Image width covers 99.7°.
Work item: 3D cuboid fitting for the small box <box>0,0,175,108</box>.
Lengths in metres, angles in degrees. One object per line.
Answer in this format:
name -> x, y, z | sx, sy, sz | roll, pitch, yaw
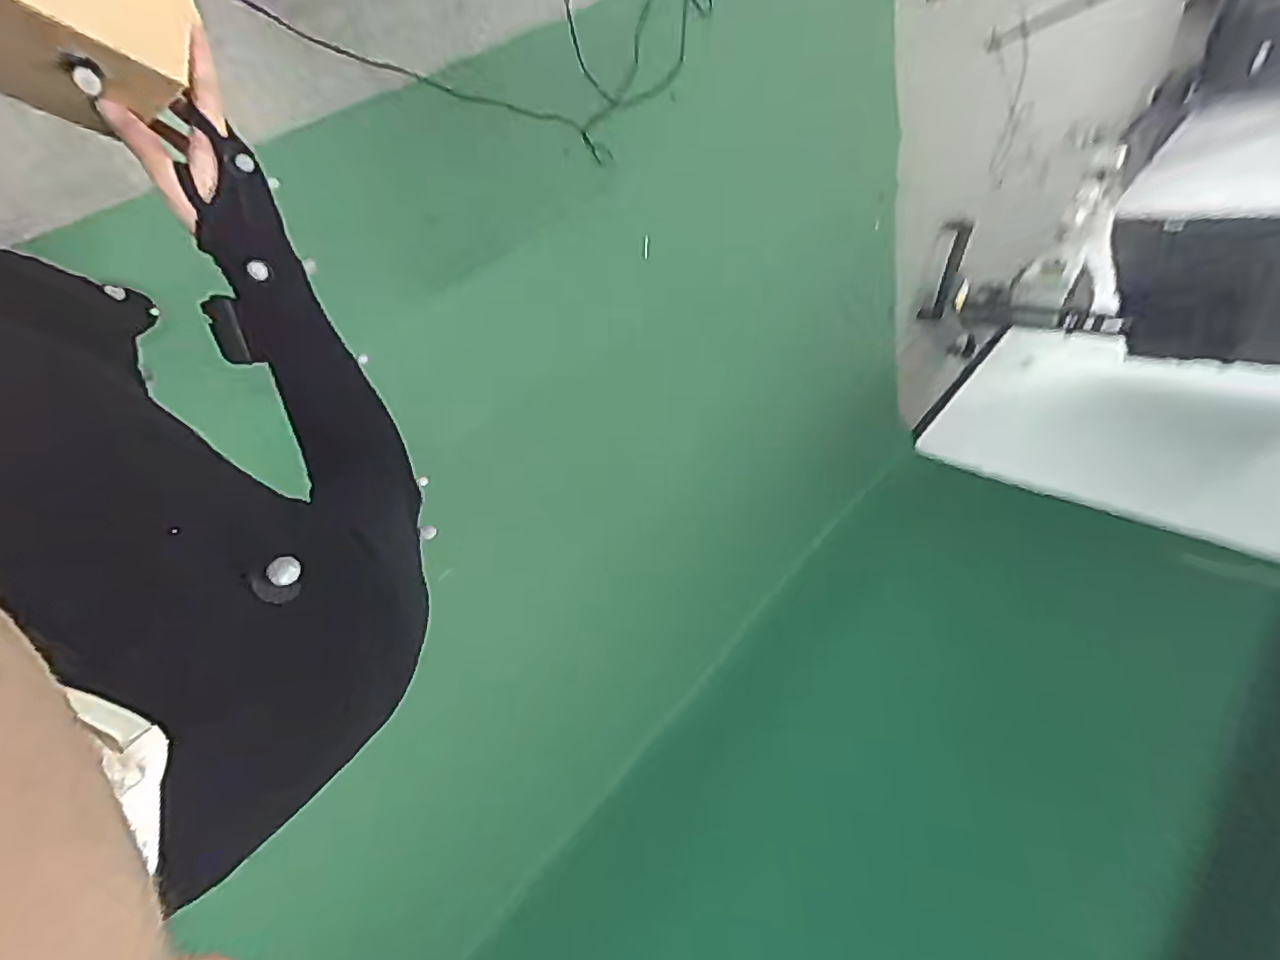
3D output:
small box -> -0.432, -0.379, 0.347 | 0.179, 0.176, 0.168 | 2, 94, -53
